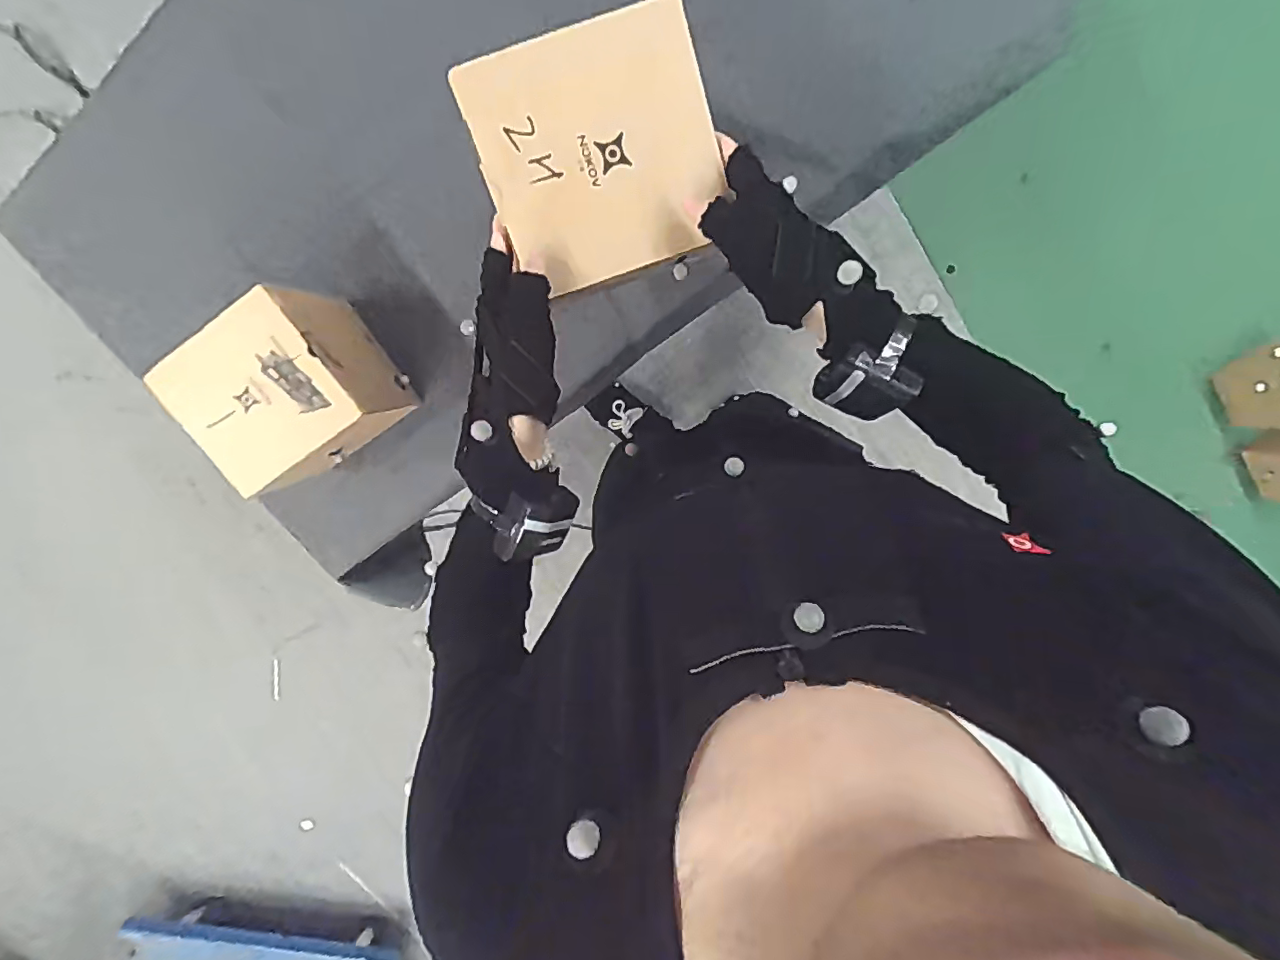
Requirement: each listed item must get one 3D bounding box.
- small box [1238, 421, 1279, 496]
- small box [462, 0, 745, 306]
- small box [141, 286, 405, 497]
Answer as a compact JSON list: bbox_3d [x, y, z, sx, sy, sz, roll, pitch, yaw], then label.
[{"bbox_3d":[1.771,-0.059,1.426,0.179,0.176,0.168,-36,101,8],"label":"small box"},{"bbox_3d":[-0.030,-0.261,0.478,0.179,0.176,0.168,-19,107,0],"label":"small box"},{"bbox_3d":[-0.417,-0.109,0.657,0.179,0.176,0.168,-33,100,7],"label":"small box"}]
